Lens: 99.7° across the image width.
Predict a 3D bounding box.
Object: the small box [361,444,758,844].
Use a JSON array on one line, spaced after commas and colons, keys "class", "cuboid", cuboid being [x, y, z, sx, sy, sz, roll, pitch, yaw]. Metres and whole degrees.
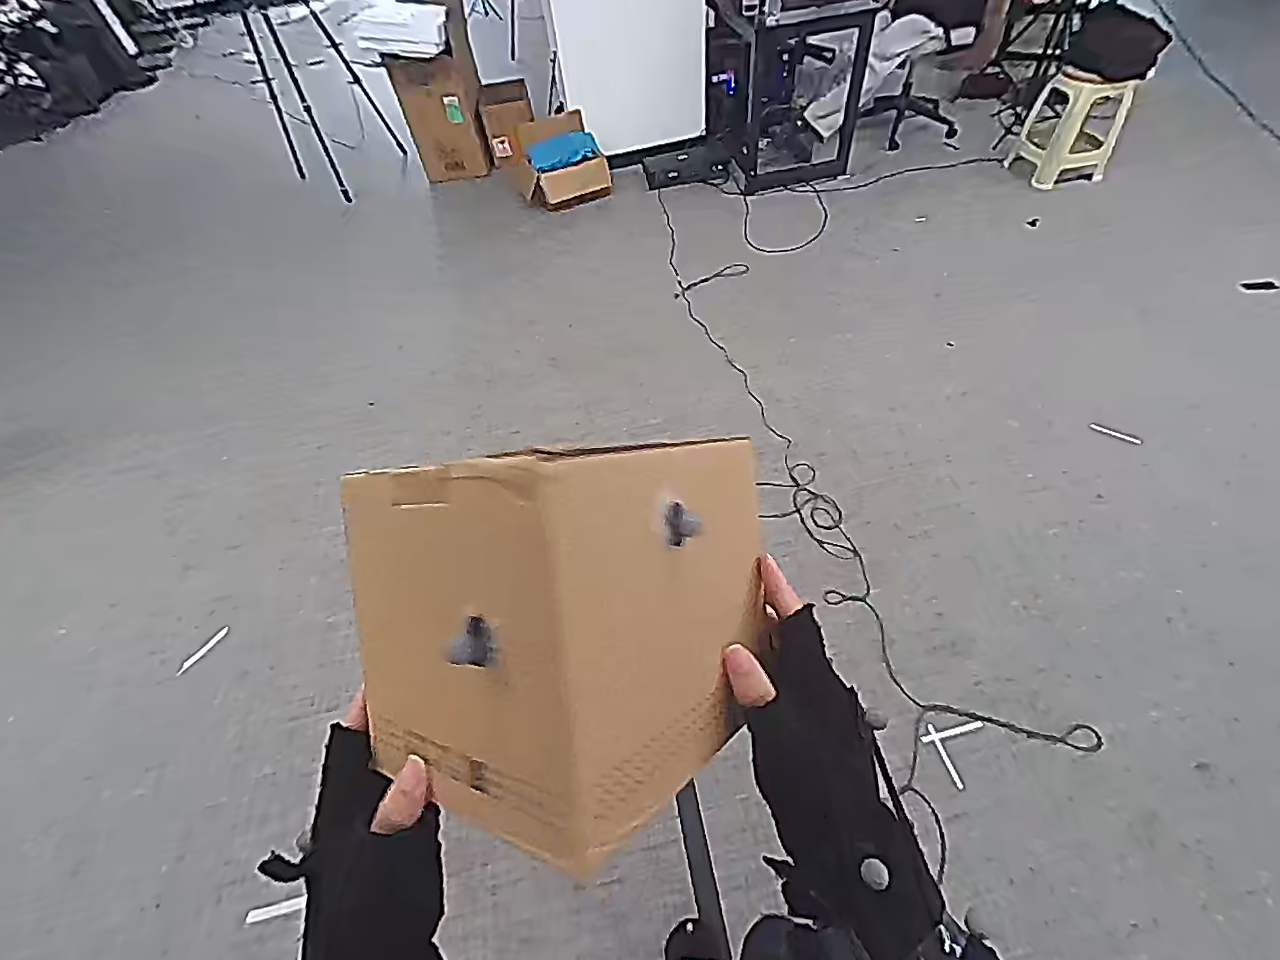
[{"class": "small box", "cuboid": [-0.042, 0.075, 0.333, 0.168, 0.176, 0.179, -5, 2, 42]}]
